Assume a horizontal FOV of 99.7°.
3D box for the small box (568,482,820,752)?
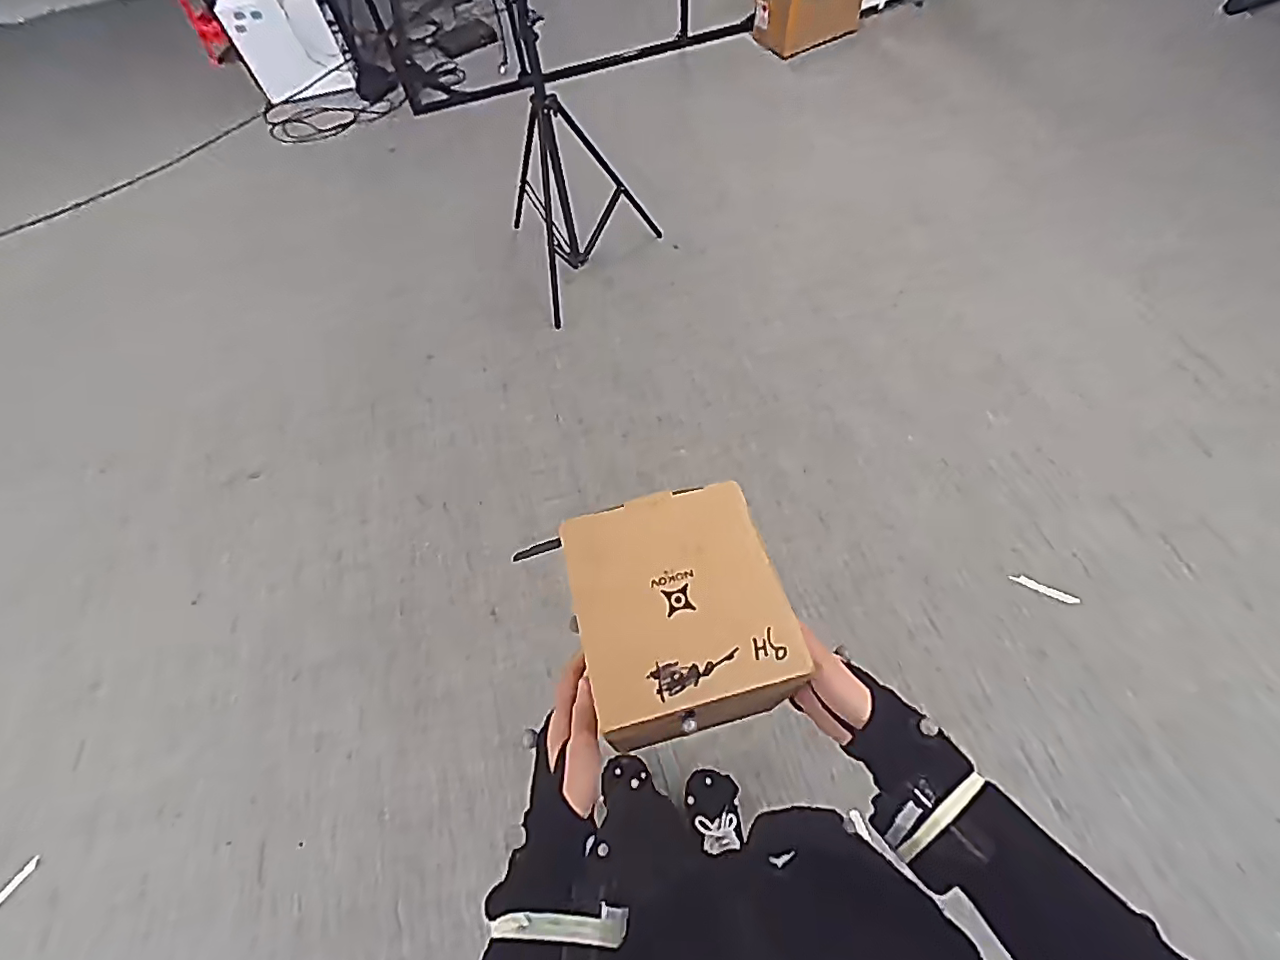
[{"bbox_3d":[0.036,0.131,0.499,0.168,0.176,0.179,-13,59,-6],"label":"small box"}]
